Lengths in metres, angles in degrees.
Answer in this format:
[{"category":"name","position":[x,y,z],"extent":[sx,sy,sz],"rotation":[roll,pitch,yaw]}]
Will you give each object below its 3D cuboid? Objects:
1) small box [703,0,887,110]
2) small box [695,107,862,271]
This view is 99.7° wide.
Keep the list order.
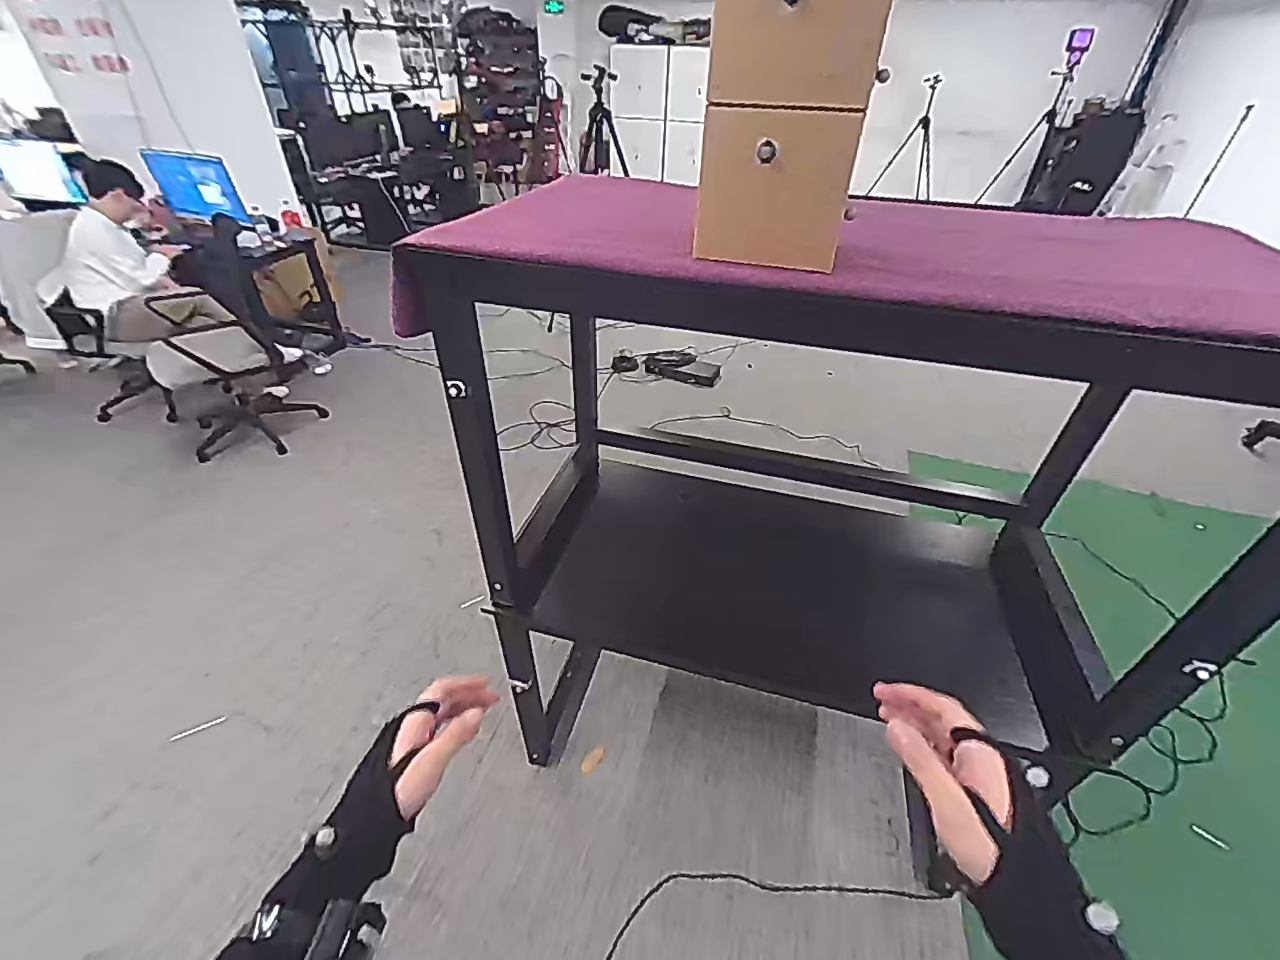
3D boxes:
[{"category":"small box","position":[0.175,-0.508,0.595],"extent":[0.179,0.176,0.168],"rotation":[11,38,15]},{"category":"small box","position":[0.174,-0.377,0.694],"extent":[0.179,0.176,0.168],"rotation":[12,39,14]}]
